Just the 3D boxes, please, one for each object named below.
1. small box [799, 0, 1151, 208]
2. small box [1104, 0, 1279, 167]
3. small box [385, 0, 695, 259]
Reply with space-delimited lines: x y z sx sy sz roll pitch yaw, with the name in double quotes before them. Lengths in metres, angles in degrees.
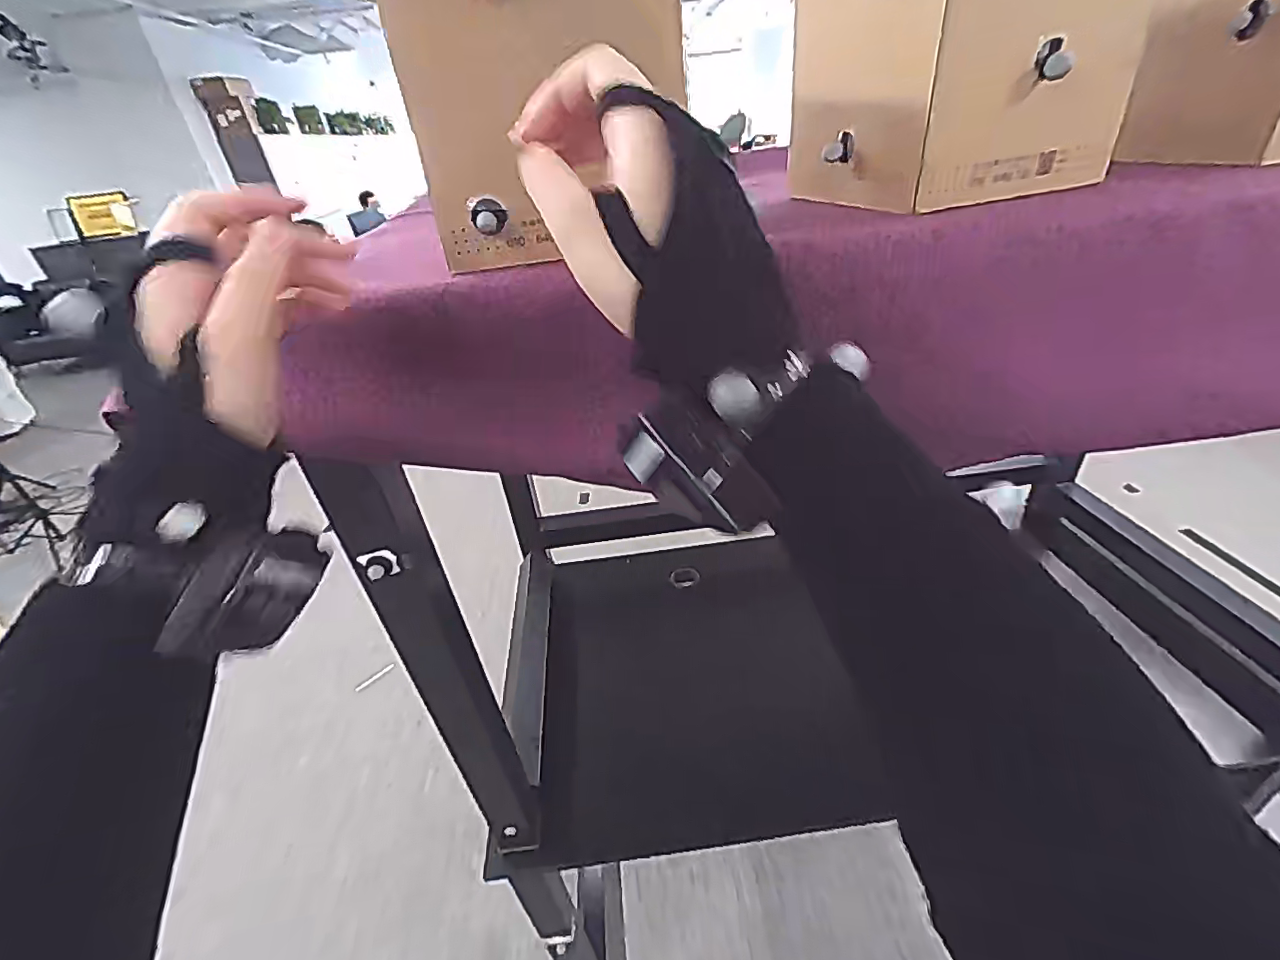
"small box" 0.237 -0.312 0.408 0.168 0.176 0.179 -14 33 -10
"small box" 0.504 -0.353 0.425 0.168 0.176 0.179 -10 32 -5
"small box" -0.059 -0.264 0.388 0.168 0.176 0.179 -9 32 -4
